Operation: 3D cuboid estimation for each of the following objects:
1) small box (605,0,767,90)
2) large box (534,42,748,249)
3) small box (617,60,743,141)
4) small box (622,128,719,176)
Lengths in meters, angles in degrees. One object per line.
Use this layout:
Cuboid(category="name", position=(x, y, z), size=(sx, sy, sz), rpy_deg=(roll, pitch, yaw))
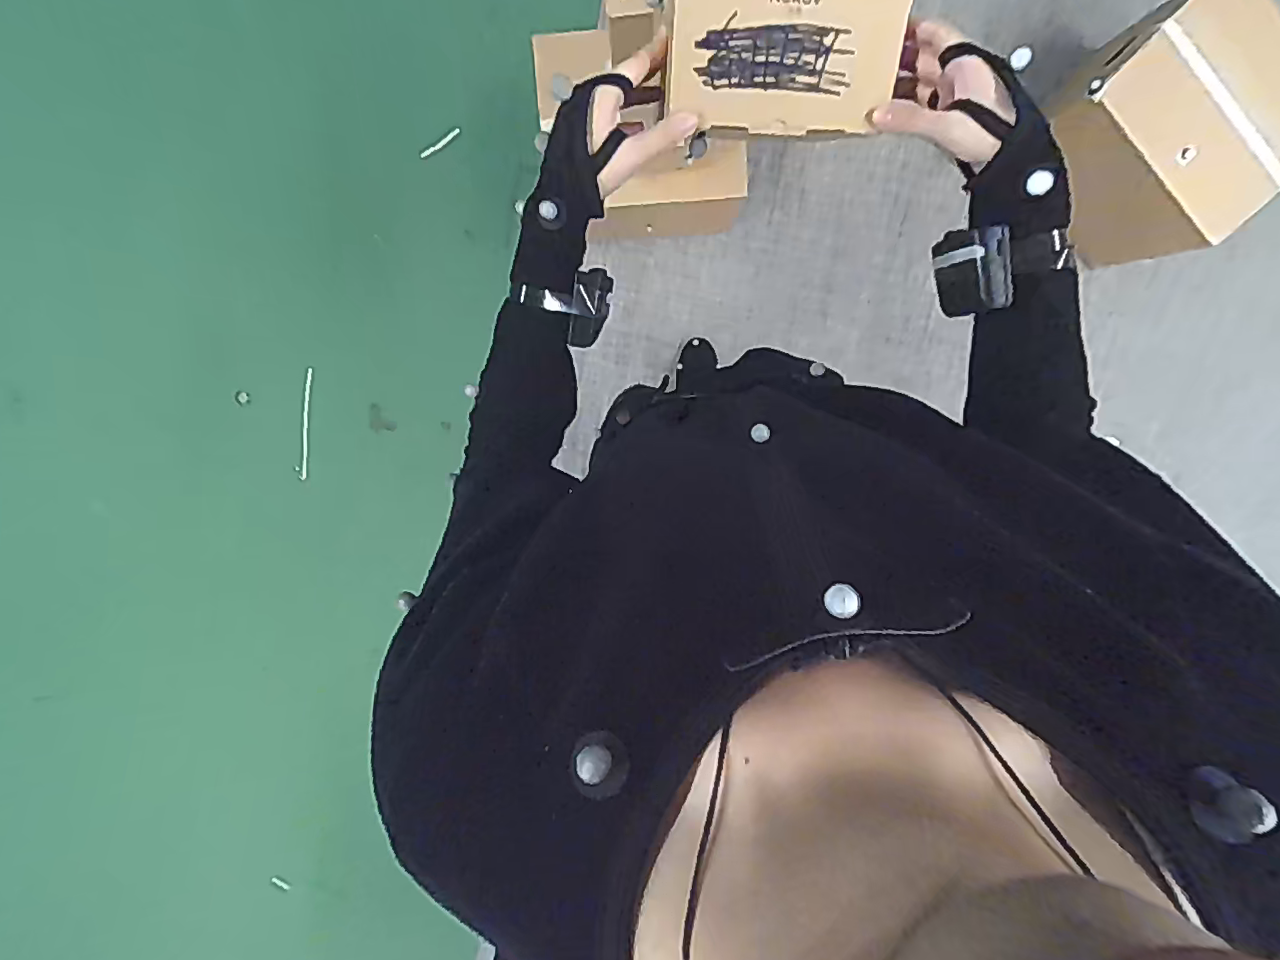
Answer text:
Cuboid(category="small box", position=(0.044, -0.598, 0.642), size=(0.179, 0.176, 0.168), rpy_deg=(-4, 102, 1))
Cuboid(category="large box", position=(0.013, -0.722, 1.201), size=(0.408, 0.320, 0.320), rpy_deg=(-4, 101, 3))
Cuboid(category="small box", position=(0.050, -0.630, 0.803), size=(0.179, 0.176, 0.168), rpy_deg=(-4, 102, 2))
Cuboid(category="small box", position=(0.050, -0.661, 0.964), size=(0.168, 0.176, 0.179), rpy_deg=(-3, 102, 2))
